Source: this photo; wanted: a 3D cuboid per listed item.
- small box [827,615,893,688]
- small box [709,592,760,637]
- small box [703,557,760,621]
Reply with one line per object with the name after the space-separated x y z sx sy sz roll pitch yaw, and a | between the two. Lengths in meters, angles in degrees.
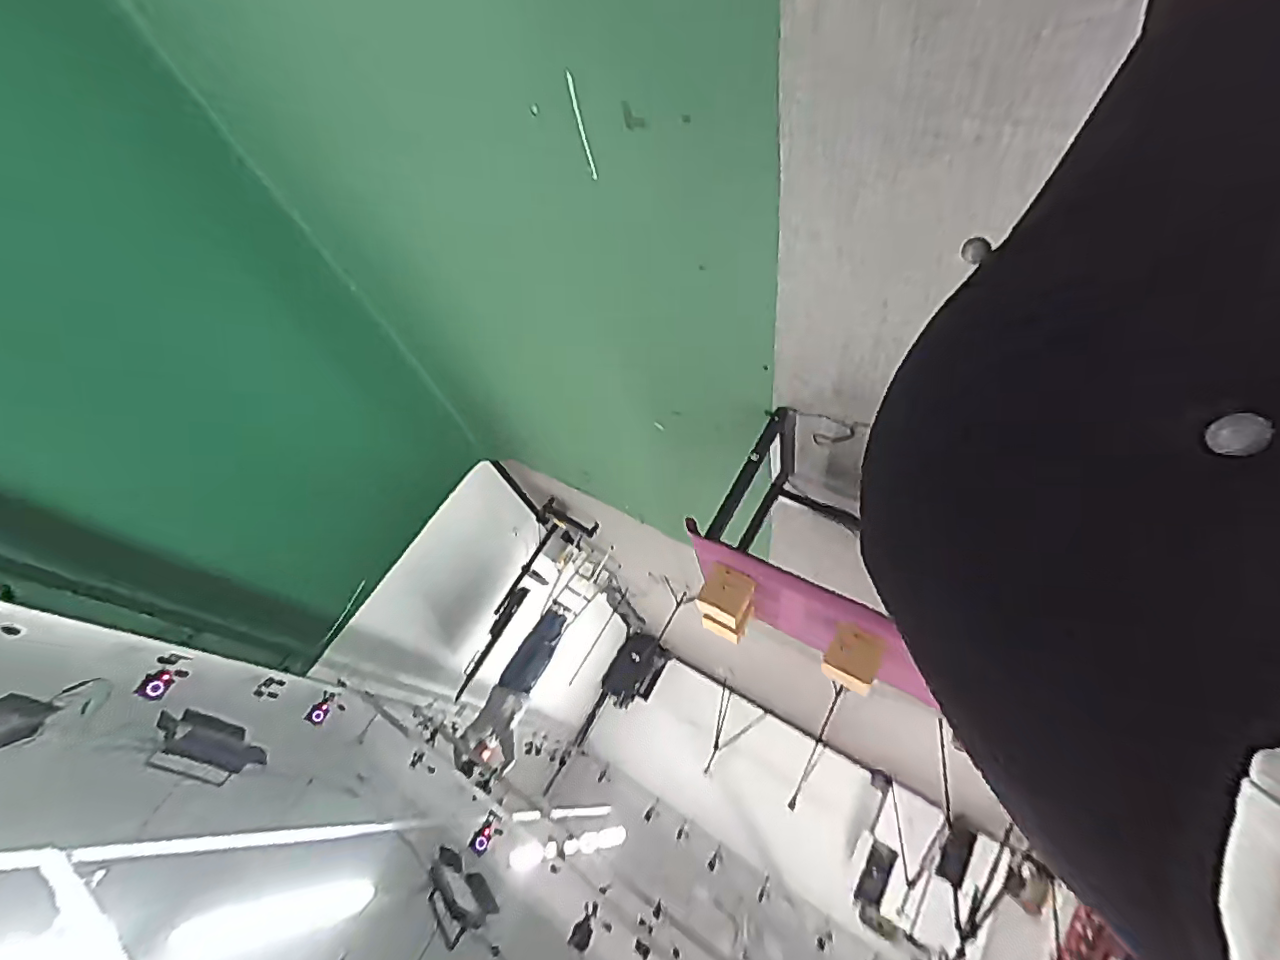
0.764 0.593 1.880 0.168 0.176 0.179 23 160 29 | small box
0.408 0.548 2.324 0.168 0.176 0.179 24 158 21 | small box
0.355 0.417 2.086 0.168 0.176 0.179 25 160 21 | small box
